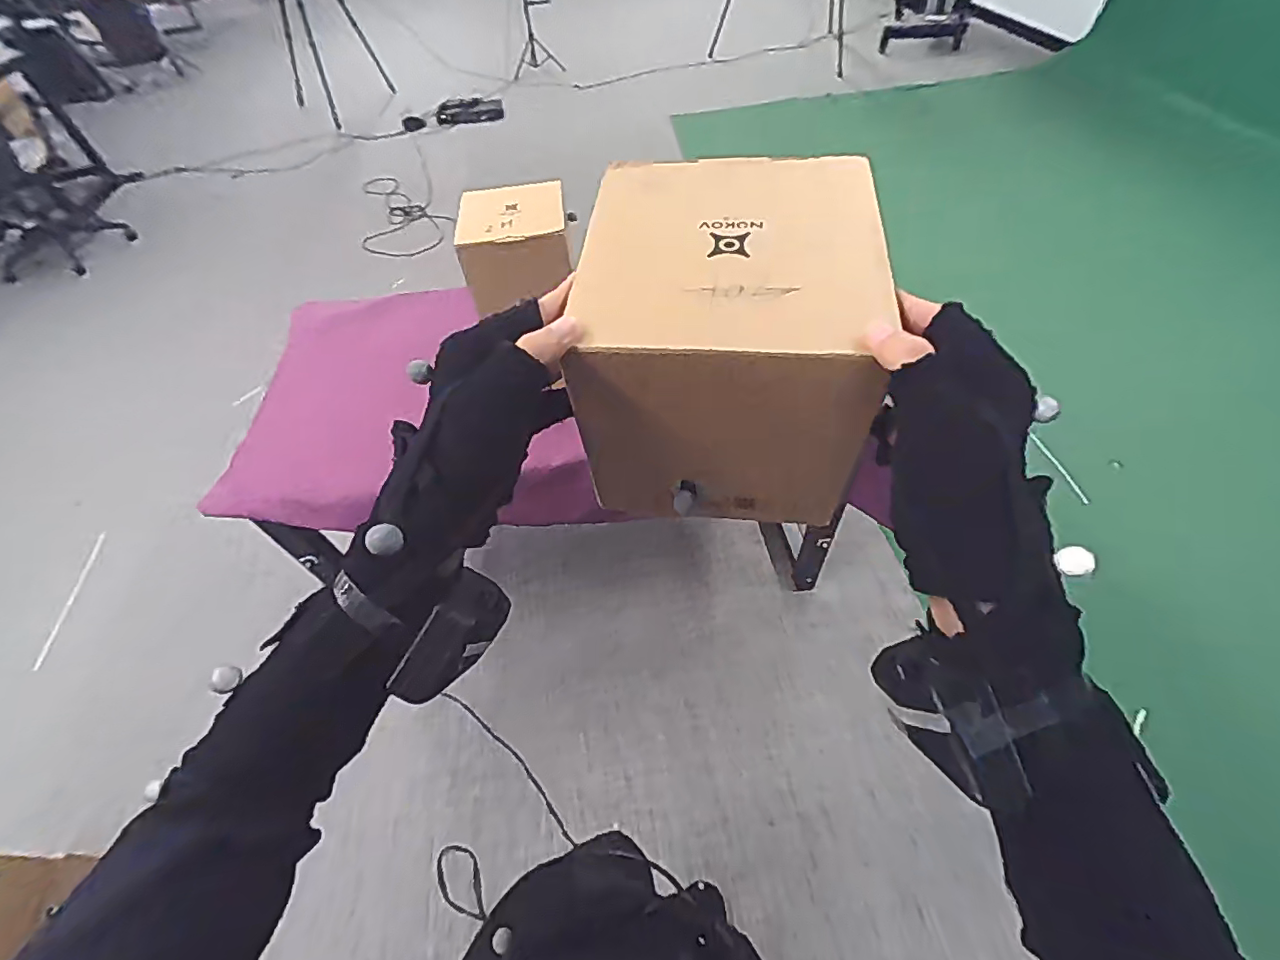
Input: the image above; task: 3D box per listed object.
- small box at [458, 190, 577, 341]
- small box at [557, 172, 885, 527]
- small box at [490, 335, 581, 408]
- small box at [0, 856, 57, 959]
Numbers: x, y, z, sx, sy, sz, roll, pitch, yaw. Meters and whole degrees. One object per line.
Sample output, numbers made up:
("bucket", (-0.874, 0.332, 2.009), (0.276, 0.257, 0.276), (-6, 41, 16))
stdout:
("small box", (-0.194, -0.362, 0.919), (0.168, 0.176, 0.179), (-8, 52, -1))
("small box", (0.052, -0.088, 0.378), (0.168, 0.176, 0.179), (3, 57, 8))
("small box", (-0.180, -0.254, 1.043), (0.168, 0.176, 0.179), (-7, 51, -1))
("small box", (-1.272, 0.818, 1.007), (0.168, 0.176, 0.179), (-10, 51, -3))
